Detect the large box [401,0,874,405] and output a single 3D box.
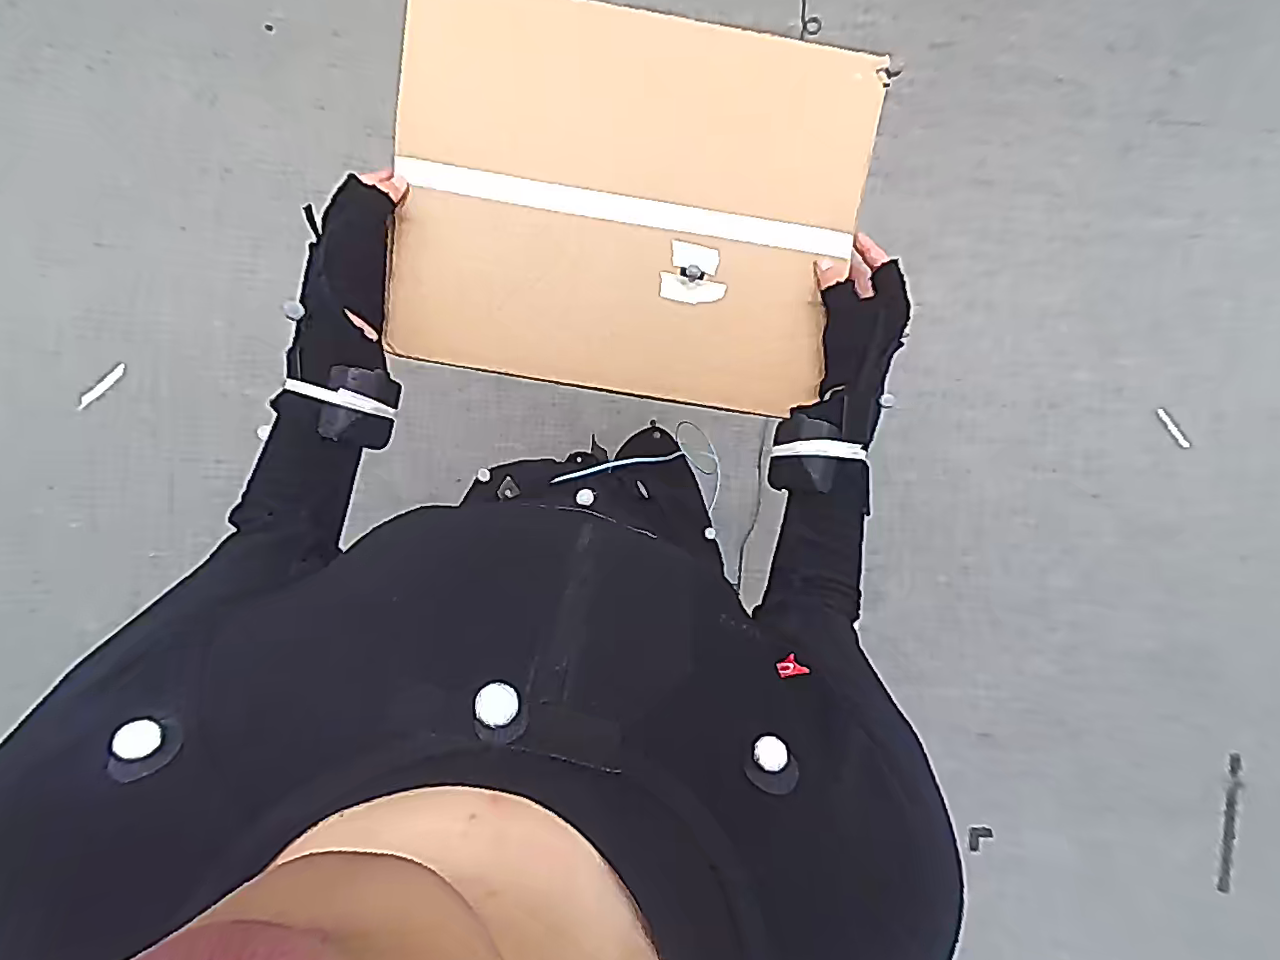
[{"bbox_3d":[-0.013,-0.271,0.639,0.408,0.320,0.320,9,100,-3],"label":"large box"}]
